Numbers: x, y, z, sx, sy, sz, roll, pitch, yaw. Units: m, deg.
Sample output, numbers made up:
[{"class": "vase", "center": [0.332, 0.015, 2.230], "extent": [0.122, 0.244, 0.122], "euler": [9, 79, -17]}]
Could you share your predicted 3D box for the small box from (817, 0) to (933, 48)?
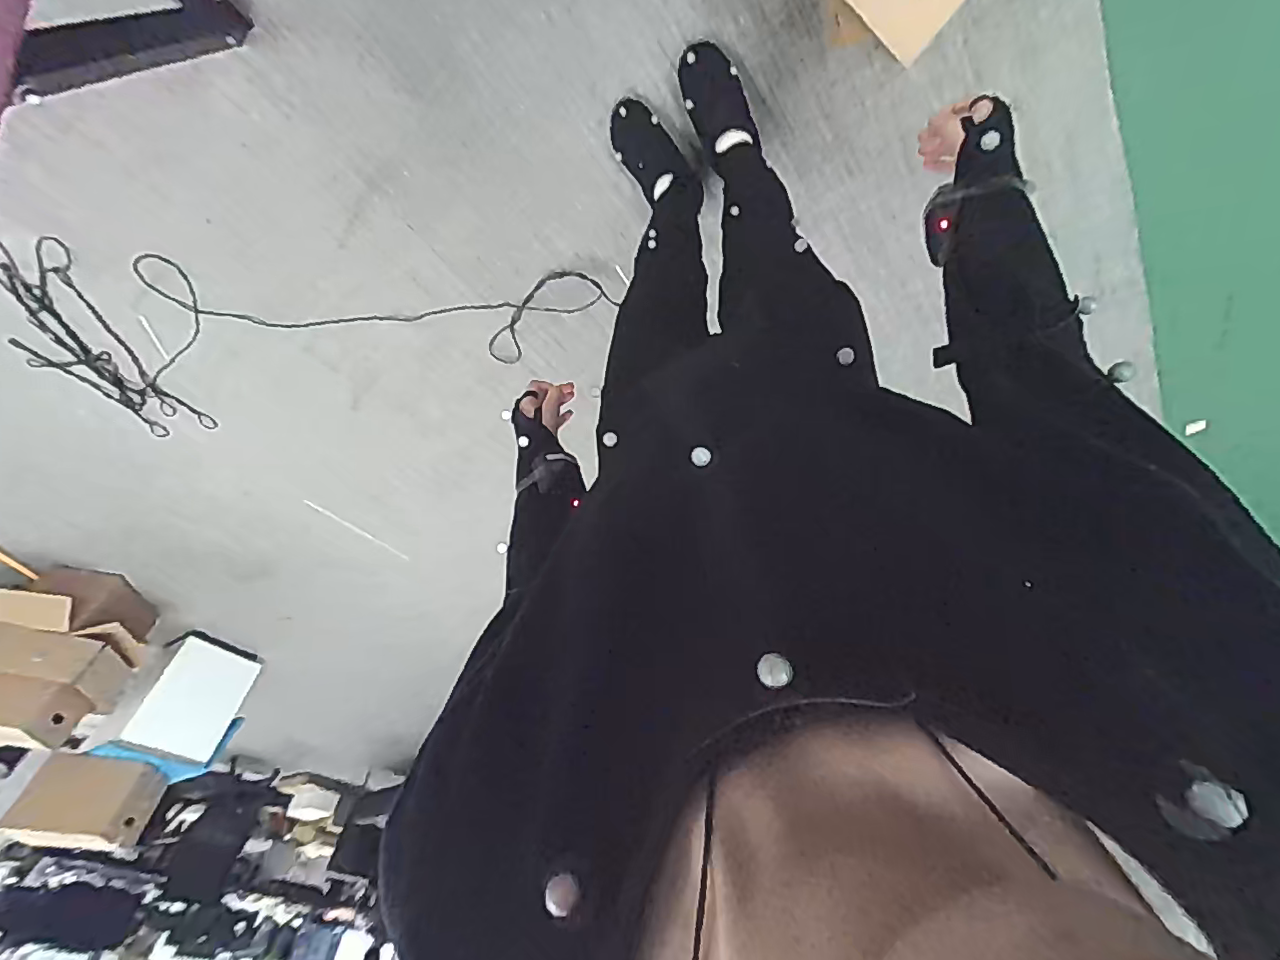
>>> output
[{"class": "small box", "center": [0.377, -0.845, 0.871], "extent": [0.179, 0.176, 0.168], "euler": [-17, 132, 21]}]
